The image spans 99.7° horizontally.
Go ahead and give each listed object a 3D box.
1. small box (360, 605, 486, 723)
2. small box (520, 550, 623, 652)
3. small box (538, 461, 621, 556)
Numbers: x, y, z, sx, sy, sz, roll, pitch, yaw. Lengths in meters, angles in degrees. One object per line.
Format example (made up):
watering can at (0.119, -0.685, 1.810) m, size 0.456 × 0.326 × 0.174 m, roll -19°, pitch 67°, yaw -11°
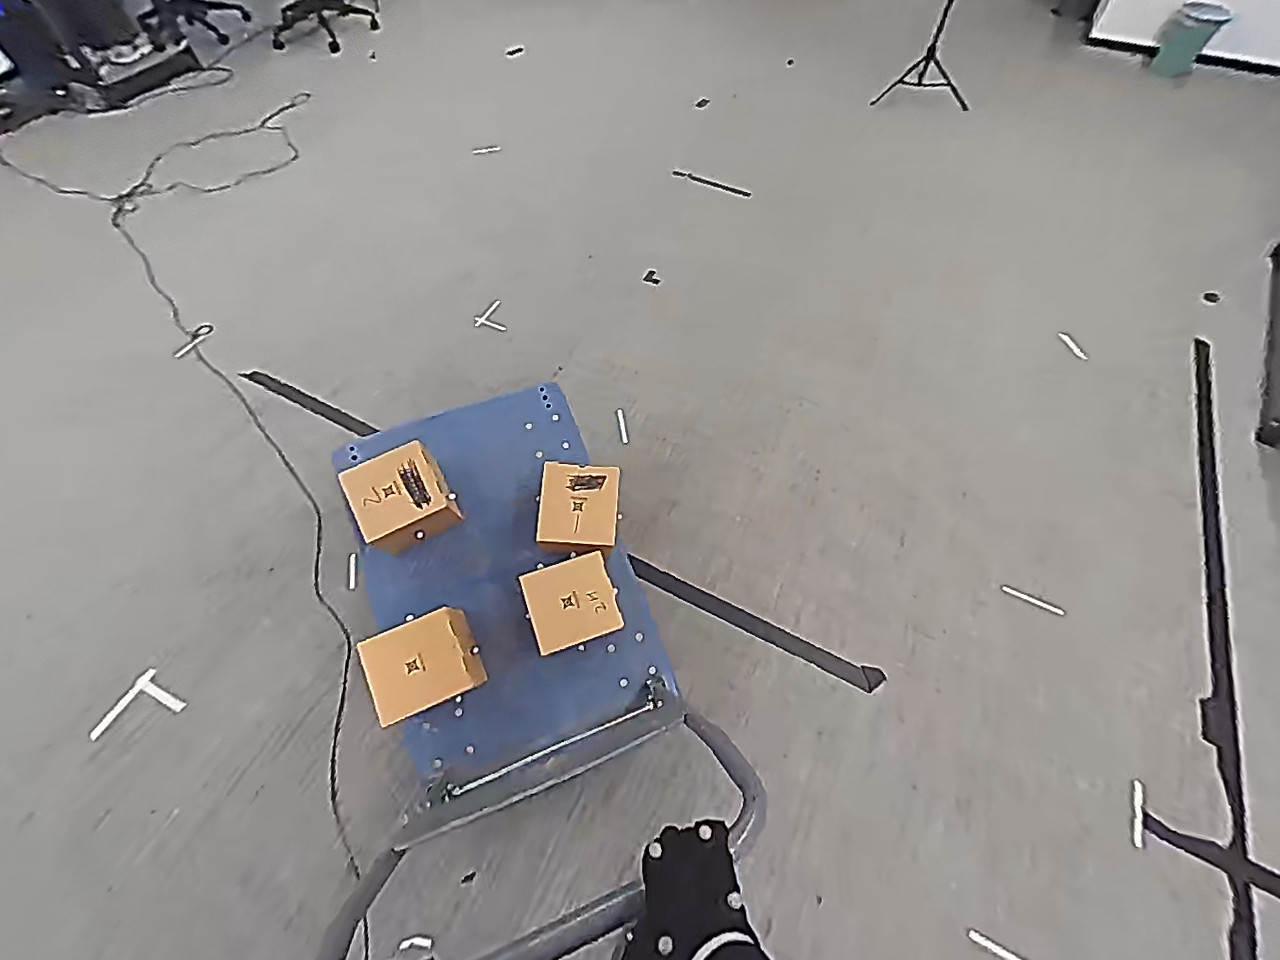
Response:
small box at (-0.436, 0.374, 1.109) m, size 0.179 × 0.176 × 0.168 m, roll -22°, pitch 77°, yaw -13°
small box at (-0.144, 0.265, 1.168) m, size 0.179 × 0.176 × 0.168 m, roll -17°, pitch 76°, yaw -10°
small box at (-0.135, 0.069, 1.228) m, size 0.168 × 0.176 × 0.179 m, roll 4°, pitch 74°, yaw -4°
